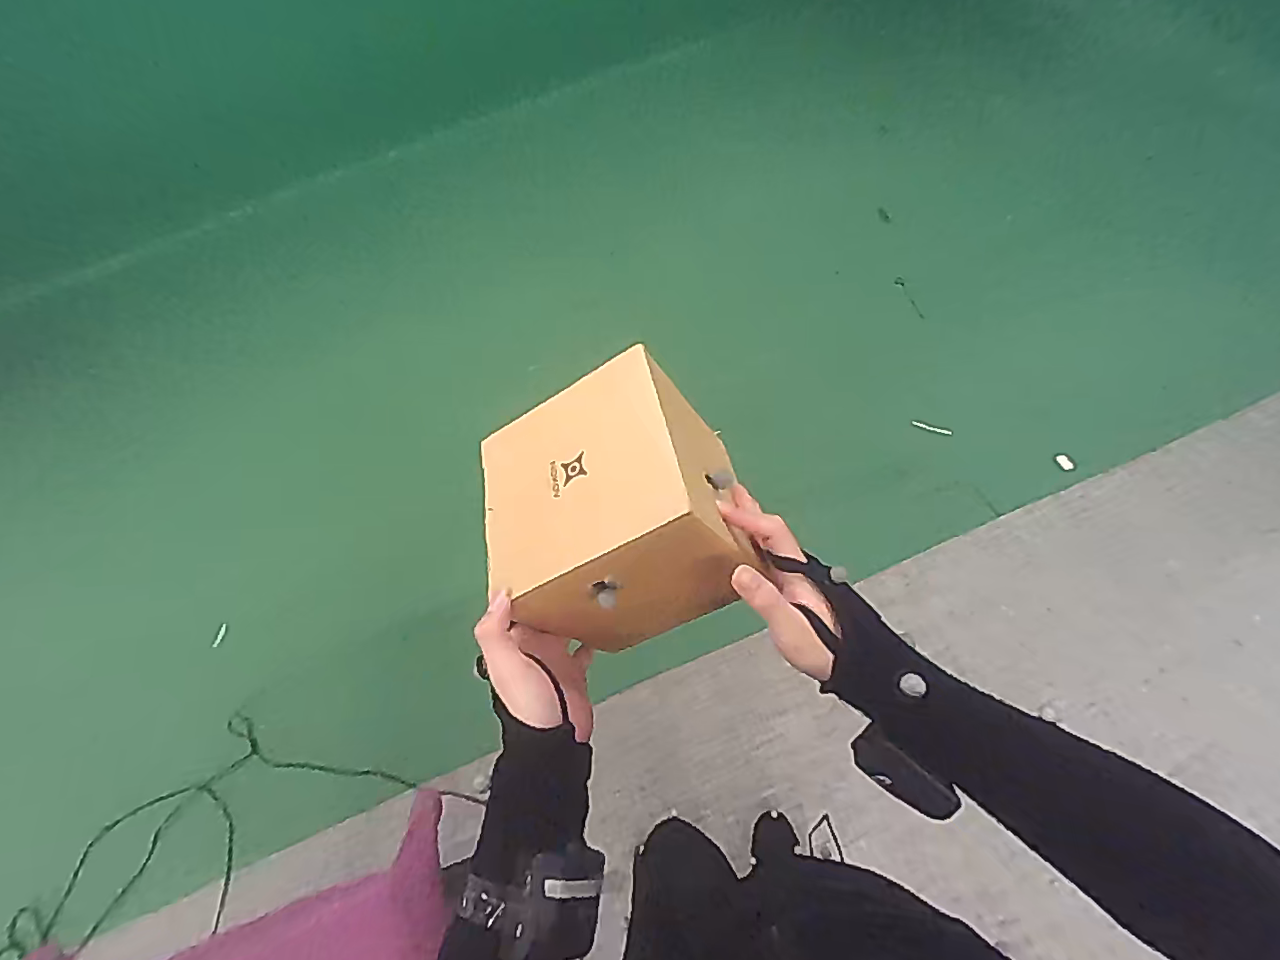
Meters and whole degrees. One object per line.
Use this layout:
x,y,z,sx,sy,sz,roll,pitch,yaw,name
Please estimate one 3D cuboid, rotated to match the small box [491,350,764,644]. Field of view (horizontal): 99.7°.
-0.007,0.027,0.479,0.179,0.176,0.168,-29,51,20,small box
